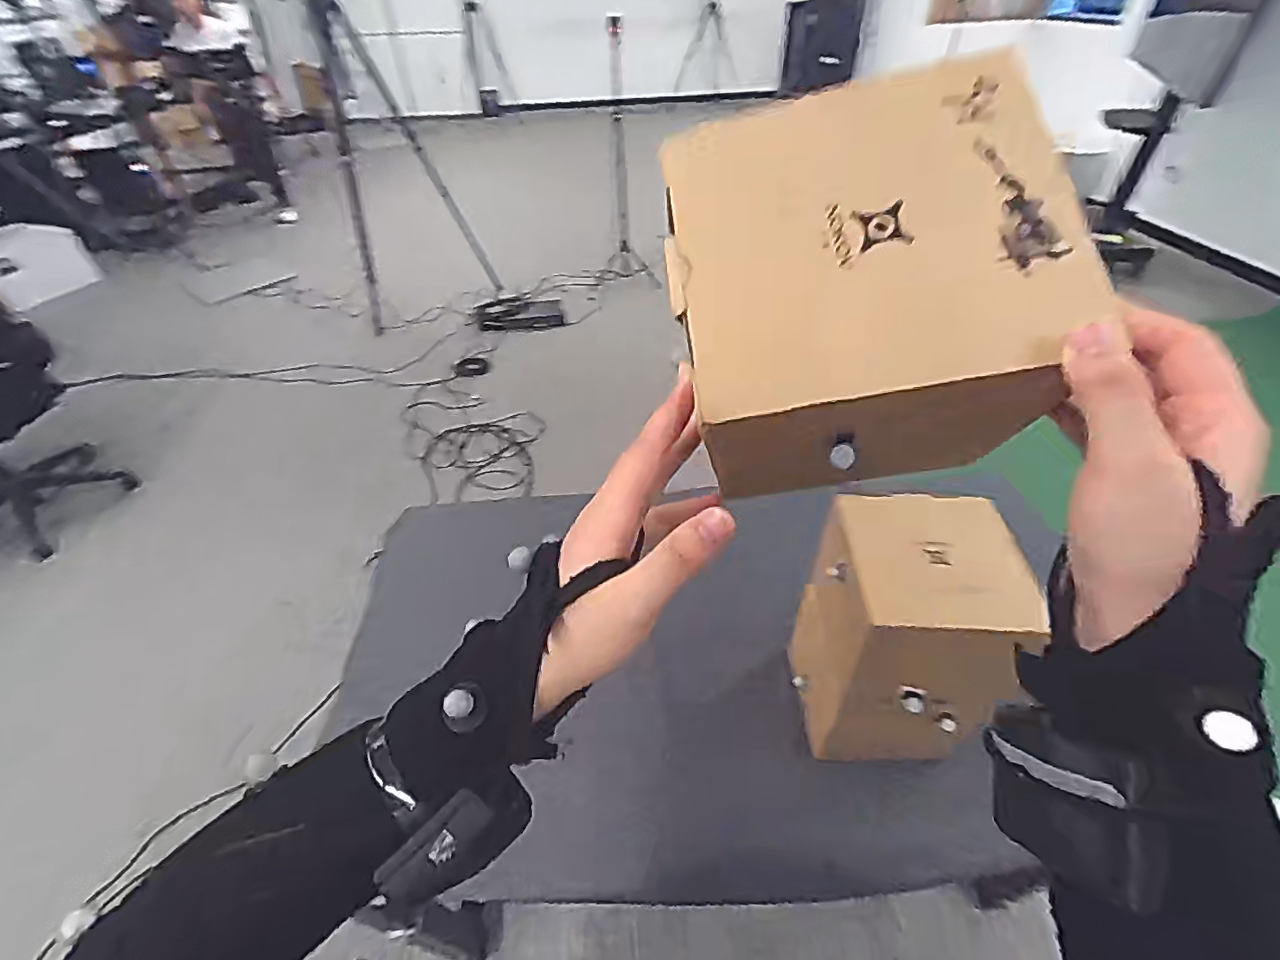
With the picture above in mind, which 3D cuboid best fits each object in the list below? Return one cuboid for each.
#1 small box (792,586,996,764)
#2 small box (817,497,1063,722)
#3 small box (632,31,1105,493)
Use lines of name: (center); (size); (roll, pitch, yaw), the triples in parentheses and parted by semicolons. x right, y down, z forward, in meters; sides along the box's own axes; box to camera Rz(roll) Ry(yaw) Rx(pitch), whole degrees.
small box: (0.313, 0.255, 0.709); (0.179, 0.176, 0.168); (-1, 42, 1)
small box: (0.301, 0.139, 0.595); (0.168, 0.176, 0.179); (1, 43, 6)
small box: (0.105, -0.095, 0.318); (0.179, 0.176, 0.168); (-9, 76, 11)
